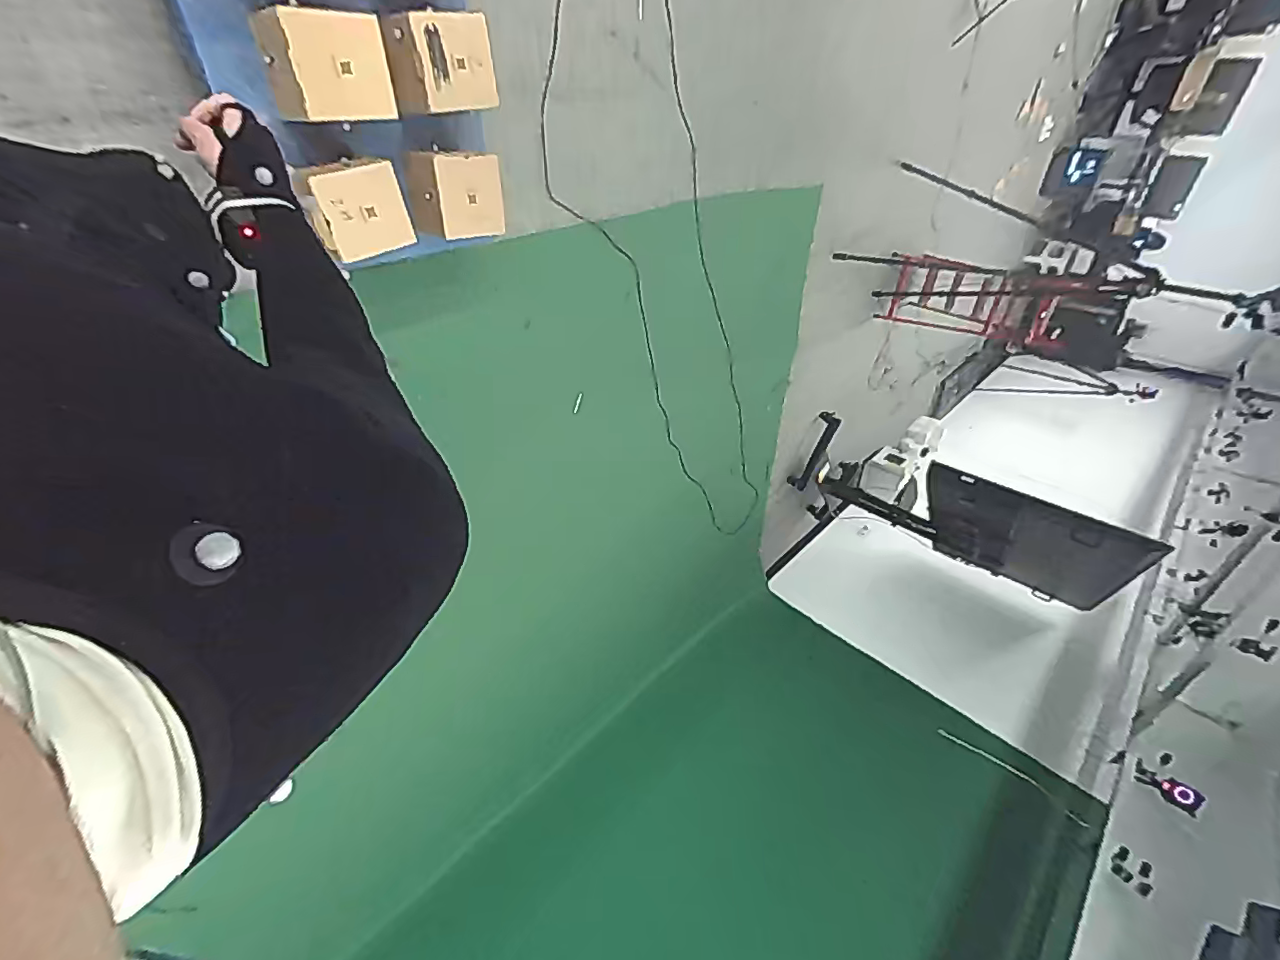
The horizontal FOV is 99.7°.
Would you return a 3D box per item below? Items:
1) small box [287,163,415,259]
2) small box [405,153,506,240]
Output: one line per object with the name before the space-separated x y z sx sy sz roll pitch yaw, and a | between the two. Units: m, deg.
small box | -0.629 -0.593 1.181 0.179 0.176 0.168 -29 132 -34
small box | -0.454 -0.700 1.328 0.168 0.176 0.179 -27 132 -36
